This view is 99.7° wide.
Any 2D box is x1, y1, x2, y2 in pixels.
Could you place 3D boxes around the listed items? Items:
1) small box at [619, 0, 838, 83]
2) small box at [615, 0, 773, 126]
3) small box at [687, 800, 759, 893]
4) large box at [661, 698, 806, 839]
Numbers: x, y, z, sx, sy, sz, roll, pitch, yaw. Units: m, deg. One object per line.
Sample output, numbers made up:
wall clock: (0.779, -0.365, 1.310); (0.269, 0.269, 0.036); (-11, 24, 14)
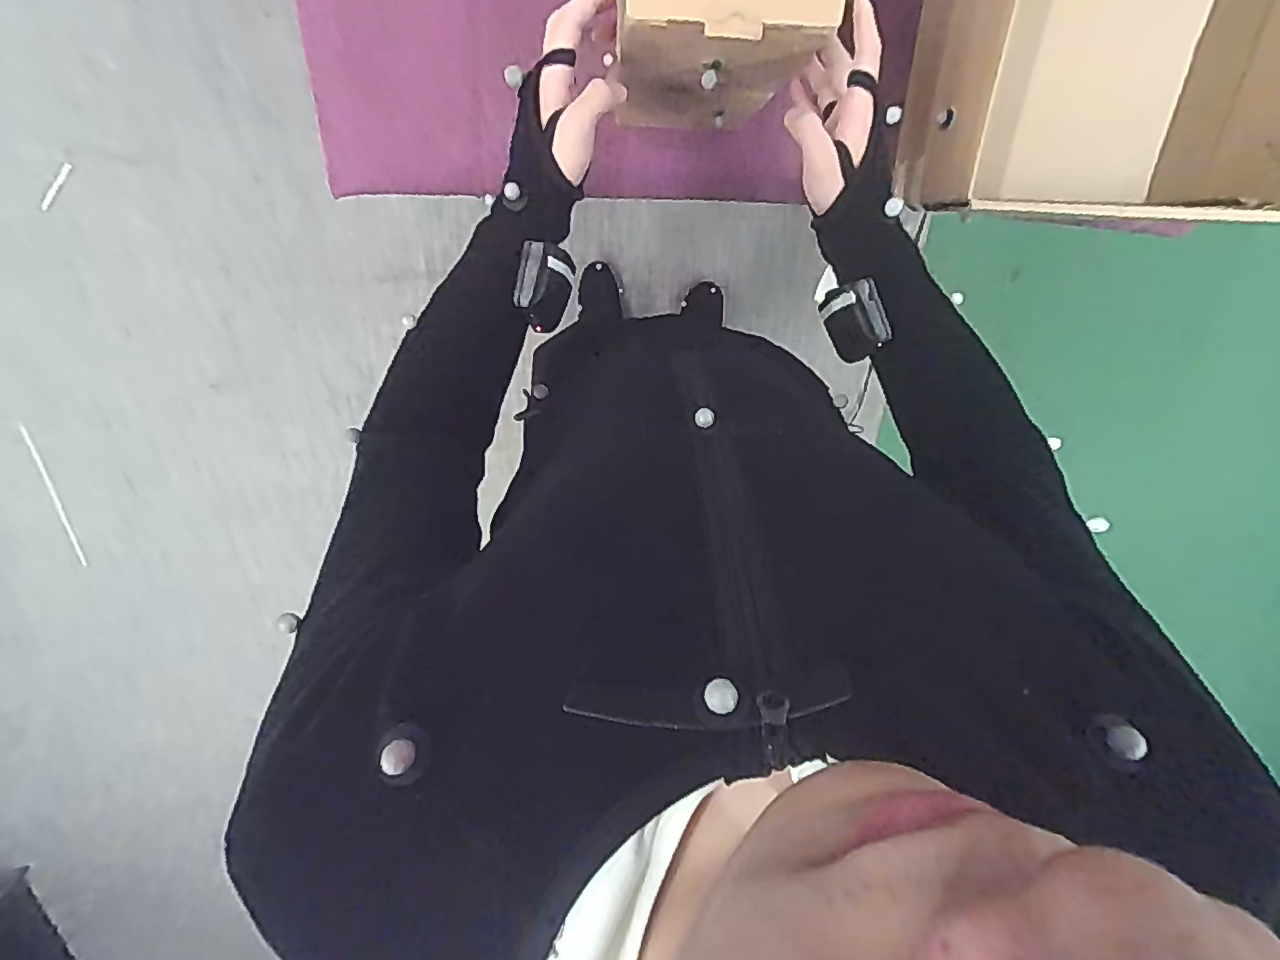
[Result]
small box: (0.067, -0.454, 0.449); (0.168, 0.176, 0.179); (0, 114, -3)
small box: (0.058, -0.513, 0.600); (0.168, 0.176, 0.179); (1, 112, -4)
small box: (0.266, 1.210, 1.794); (0.179, 0.176, 0.168); (-30, 110, 9)
large box: (0.334, 1.104, 2.021); (0.408, 0.320, 0.320); (-30, 112, 8)
